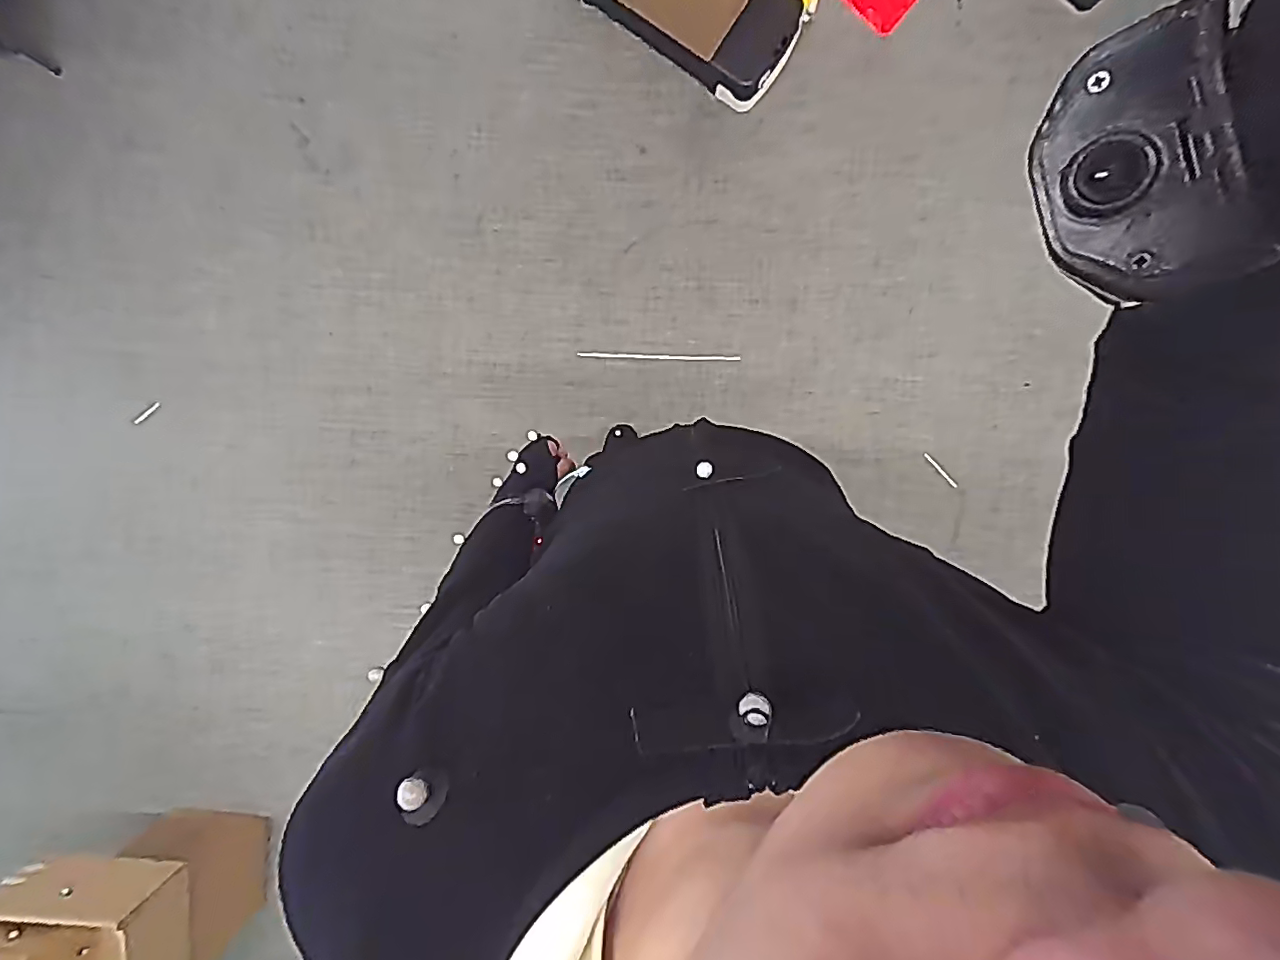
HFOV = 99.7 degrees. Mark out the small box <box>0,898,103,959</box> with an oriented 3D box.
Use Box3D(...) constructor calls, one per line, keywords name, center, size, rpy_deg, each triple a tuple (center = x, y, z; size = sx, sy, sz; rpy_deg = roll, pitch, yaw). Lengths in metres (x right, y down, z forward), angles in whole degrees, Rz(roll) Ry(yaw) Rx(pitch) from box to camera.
Box3D(name="small box", center=(-1.398, 1.103, 1.236), size=(0.179, 0.176, 0.168), rpy_deg=(4, 93, 0))
